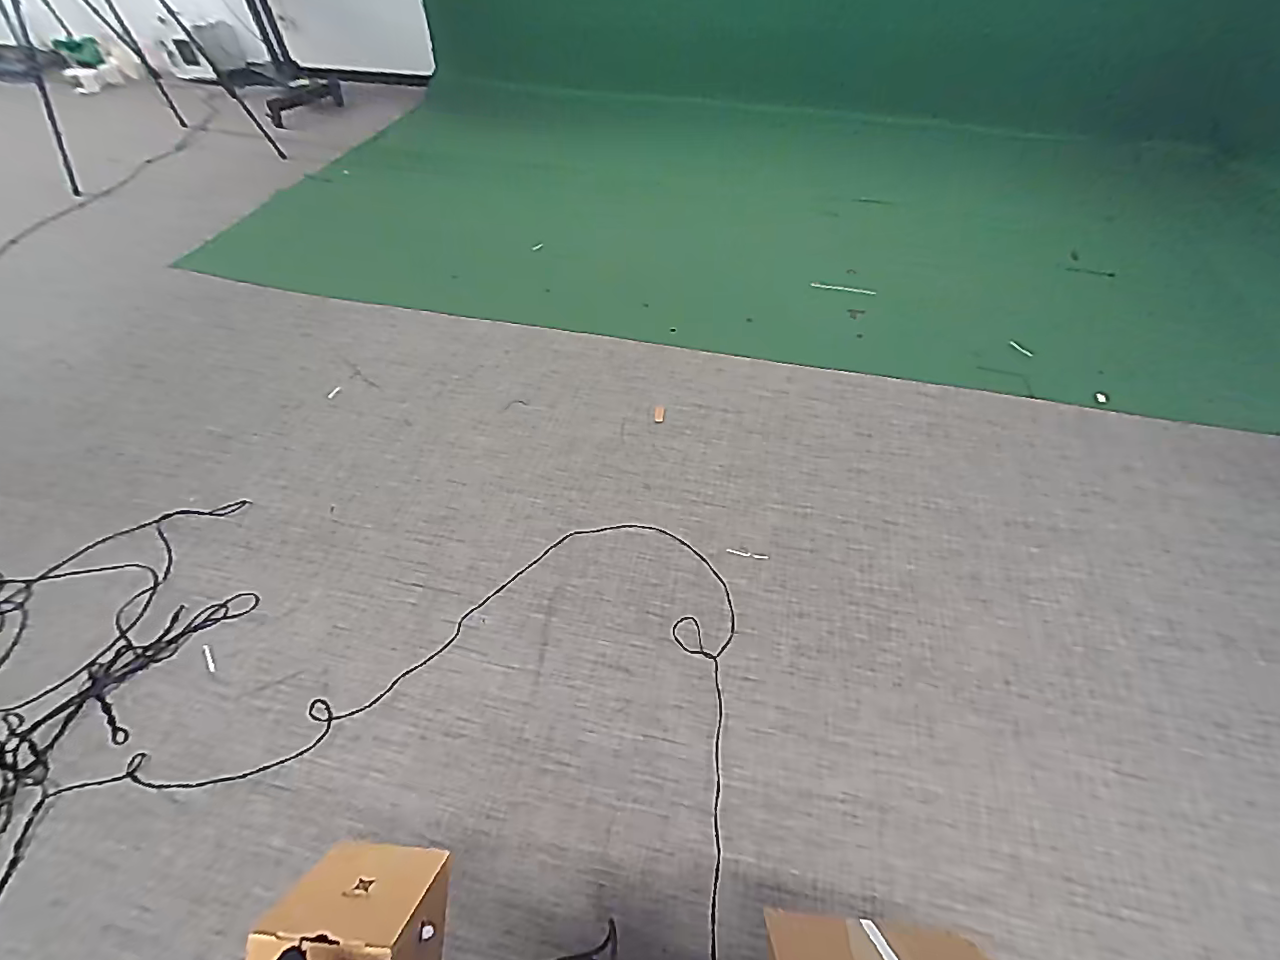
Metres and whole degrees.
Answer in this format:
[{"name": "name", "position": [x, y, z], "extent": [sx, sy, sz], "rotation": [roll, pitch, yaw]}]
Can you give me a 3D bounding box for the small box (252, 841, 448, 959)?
[{"name": "small box", "position": [-0.361, 0.598, 0.679], "extent": [0.168, 0.179, 0.176], "rotation": [4, 87, 2]}]
